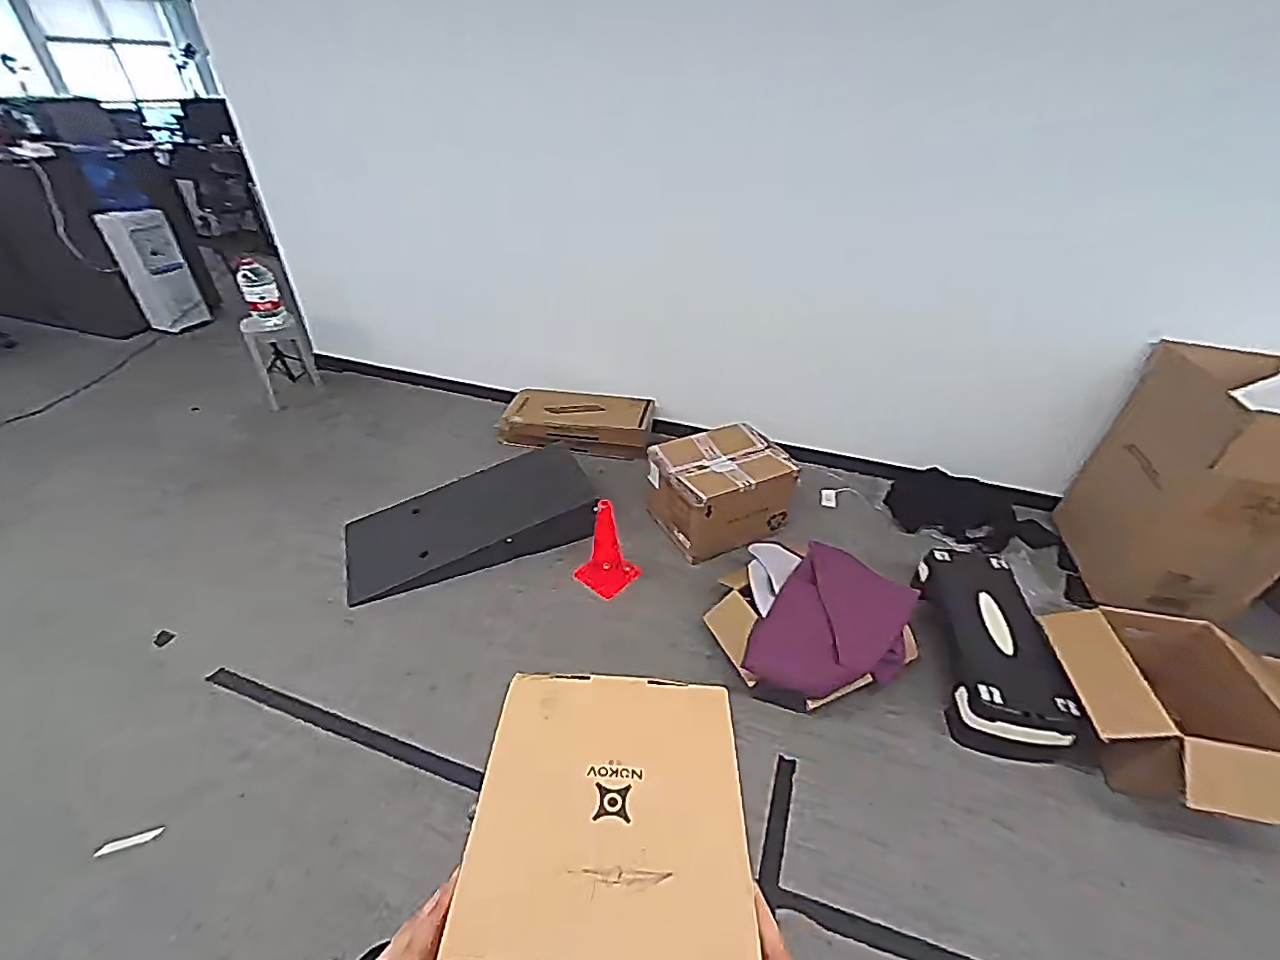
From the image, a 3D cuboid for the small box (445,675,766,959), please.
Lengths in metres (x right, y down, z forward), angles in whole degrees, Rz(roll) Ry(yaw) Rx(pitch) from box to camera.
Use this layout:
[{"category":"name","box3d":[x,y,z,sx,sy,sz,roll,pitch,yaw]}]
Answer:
[{"category":"small box","box3d":[-0.022,0.267,0.380,0.168,0.176,0.179,4,33,-2]}]
